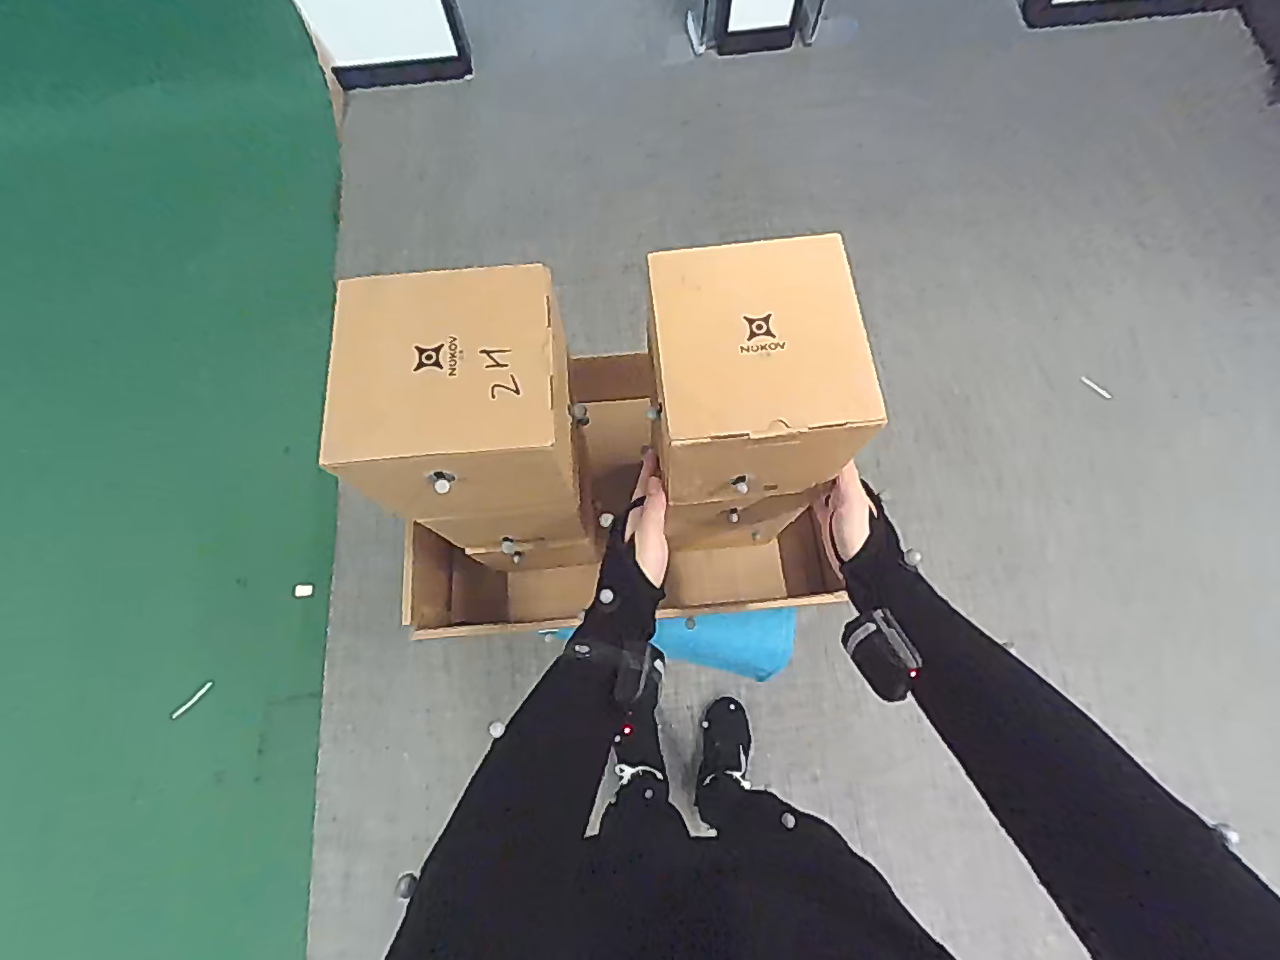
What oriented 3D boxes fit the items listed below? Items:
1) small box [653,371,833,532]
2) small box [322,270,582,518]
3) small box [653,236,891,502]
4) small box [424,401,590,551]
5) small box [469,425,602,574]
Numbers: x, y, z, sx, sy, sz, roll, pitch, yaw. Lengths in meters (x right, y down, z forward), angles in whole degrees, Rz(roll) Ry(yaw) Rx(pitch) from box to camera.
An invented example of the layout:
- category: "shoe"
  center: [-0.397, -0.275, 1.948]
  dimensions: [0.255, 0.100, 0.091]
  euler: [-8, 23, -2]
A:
- category: "small box"
  center: [0.109, -0.039, 0.656]
  dimensions: [0.179, 0.176, 0.168]
  euler: [-6, 72, 1]
- category: "small box"
  center: [-0.152, -0.067, 0.499]
  dimensions: [0.179, 0.176, 0.168]
  euler: [-4, 72, -1]
- category: "small box"
  center: [0.100, -0.091, 0.502]
  dimensions: [0.168, 0.176, 0.179]
  euler: [-6, 72, 0]
- category: "small box"
  center: [-0.151, -0.020, 0.657]
  dimensions: [0.168, 0.176, 0.179]
  euler: [-5, 72, -1]
- category: "small box"
  center: [-0.148, 0.035, 0.809]
  dimensions: [0.168, 0.176, 0.179]
  euler: [-5, 71, -1]
